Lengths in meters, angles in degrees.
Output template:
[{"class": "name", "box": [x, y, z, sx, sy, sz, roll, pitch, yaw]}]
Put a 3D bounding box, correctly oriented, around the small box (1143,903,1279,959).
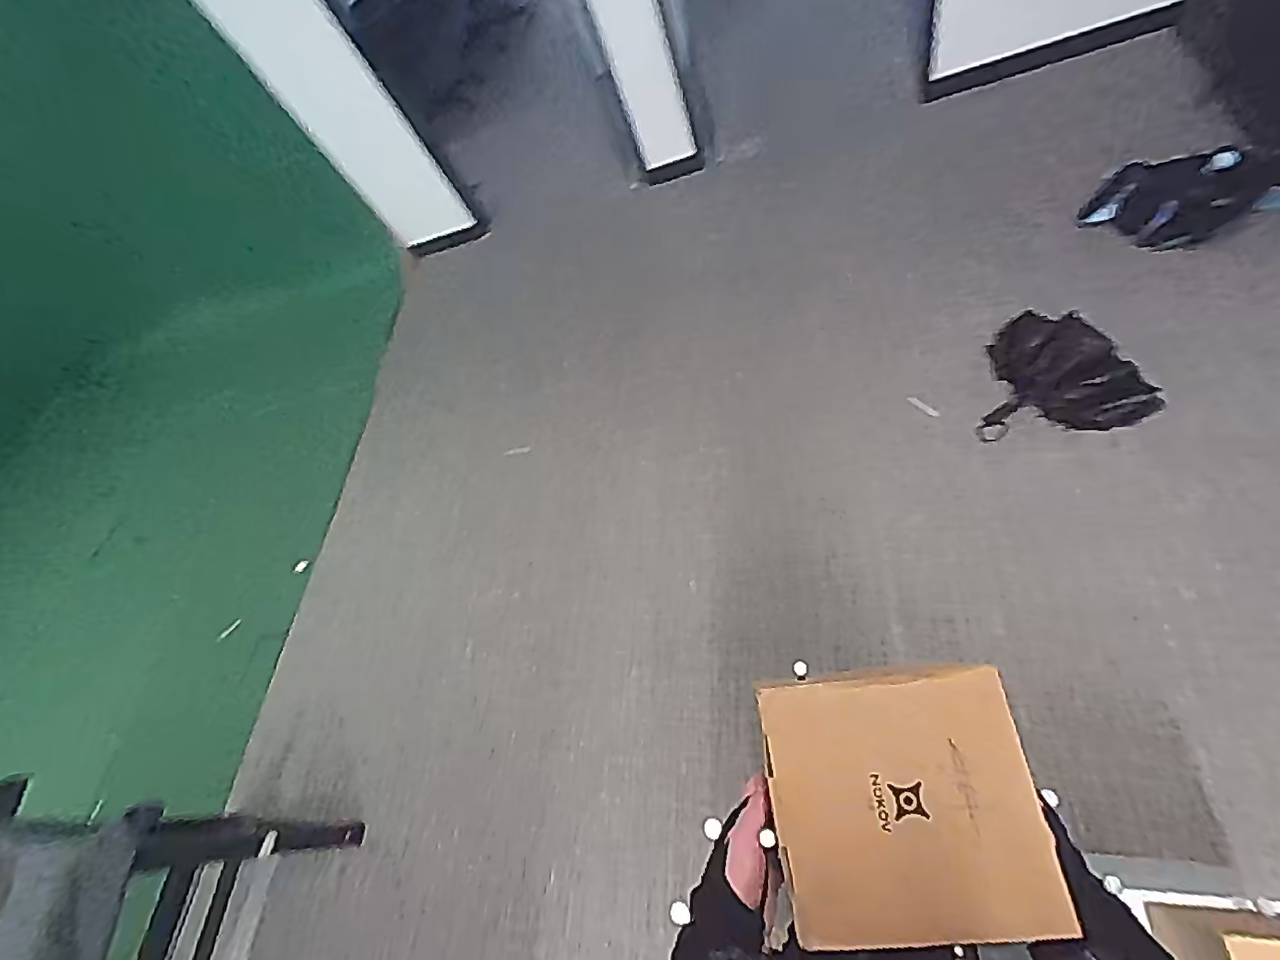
[{"class": "small box", "box": [0.615, 0.513, 0.487, 0.168, 0.176, 0.179, -7, 60, 18]}]
